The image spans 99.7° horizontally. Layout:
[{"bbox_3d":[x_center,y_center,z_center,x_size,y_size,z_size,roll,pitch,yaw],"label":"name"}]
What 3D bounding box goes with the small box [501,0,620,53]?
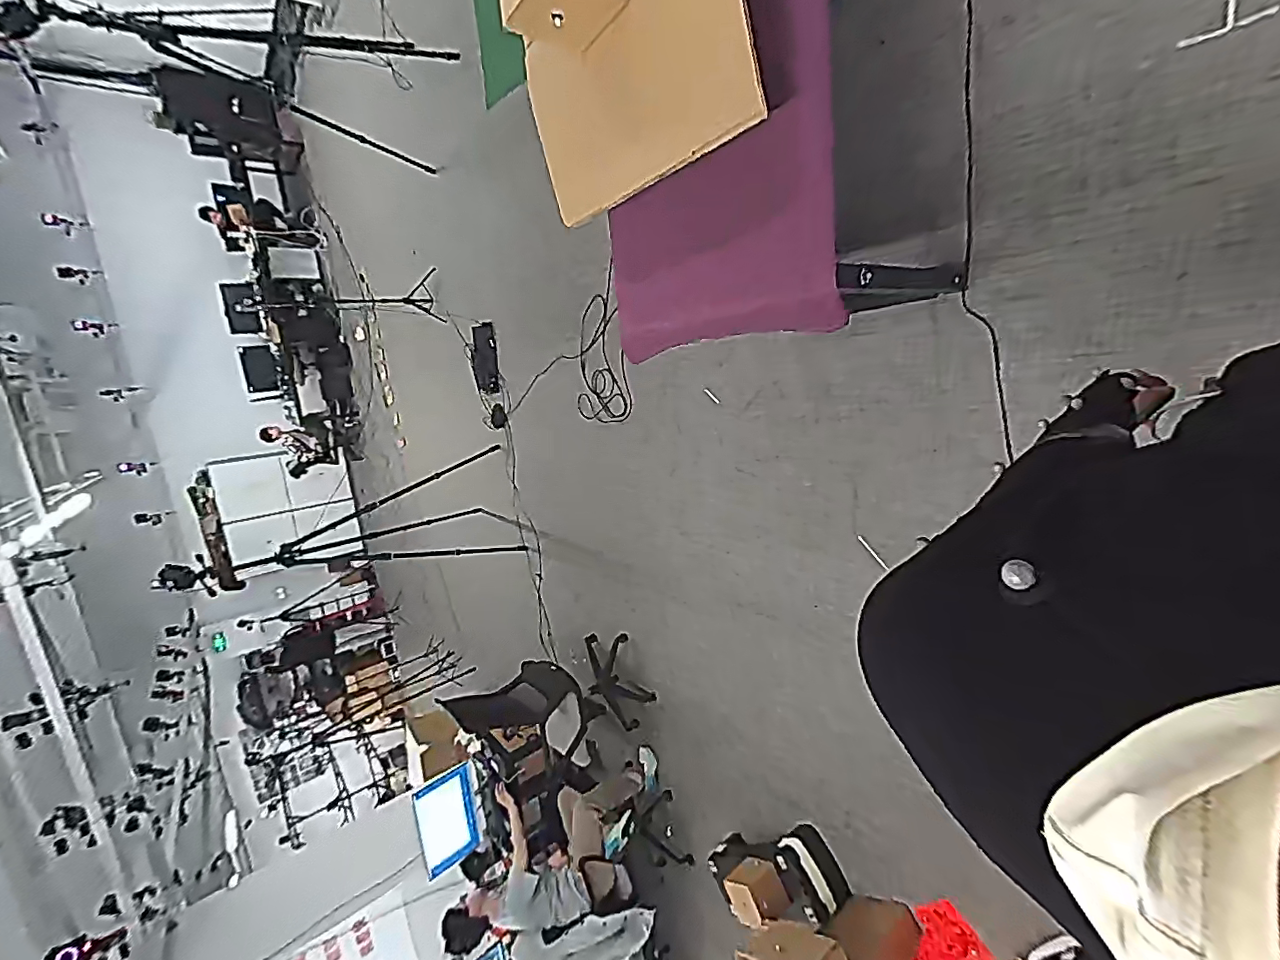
[{"bbox_3d":[-0.144,-0.928,0.979,0.179,0.176,0.168,4,102,52],"label":"small box"}]
